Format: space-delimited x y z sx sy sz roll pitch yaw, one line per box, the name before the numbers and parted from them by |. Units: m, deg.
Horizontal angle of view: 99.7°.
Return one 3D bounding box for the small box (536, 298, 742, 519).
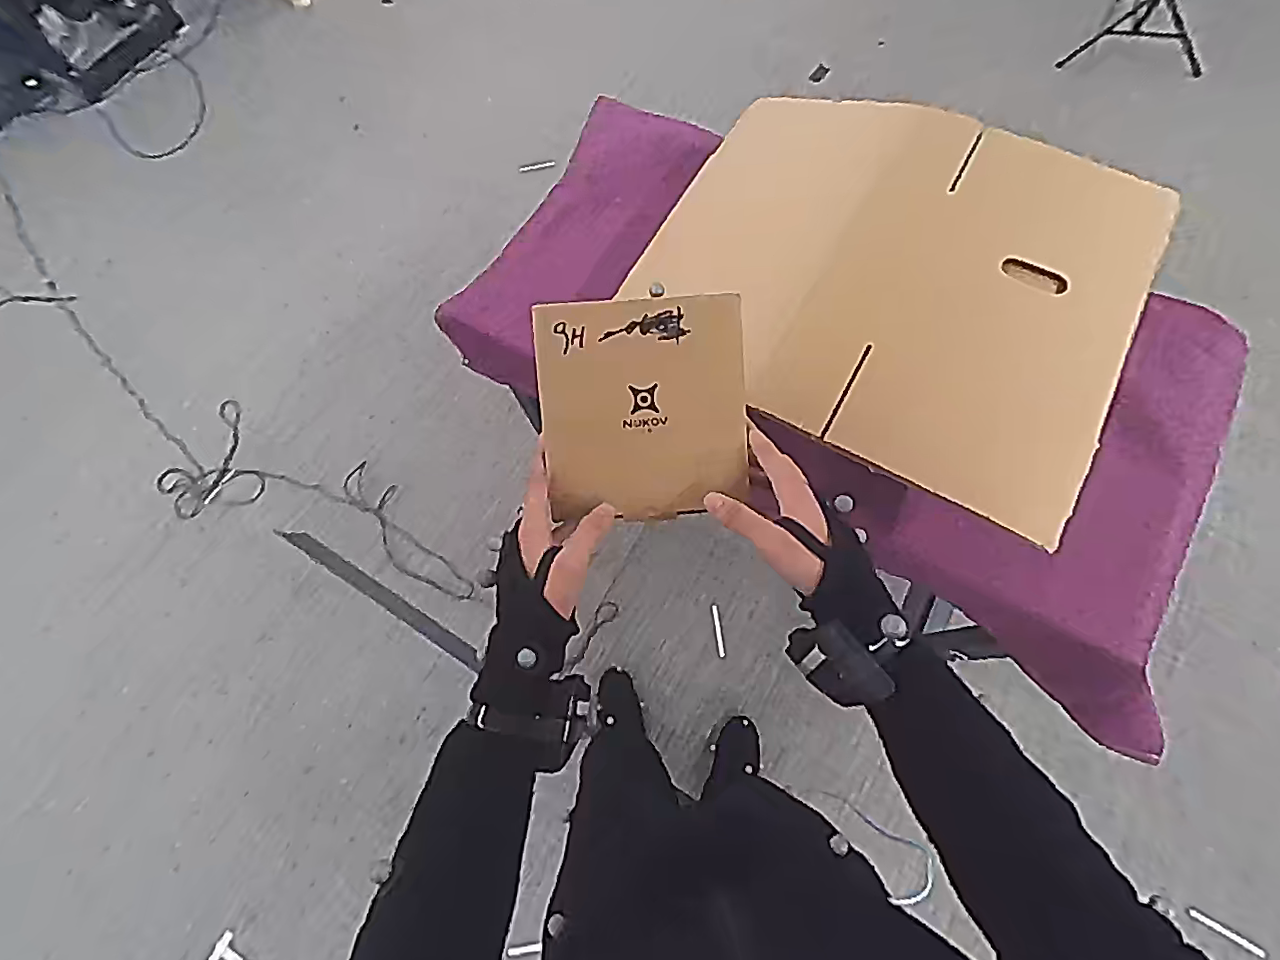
small box | 0.002 -0.069 0.520 0.168 0.176 0.179 -3 99 0
